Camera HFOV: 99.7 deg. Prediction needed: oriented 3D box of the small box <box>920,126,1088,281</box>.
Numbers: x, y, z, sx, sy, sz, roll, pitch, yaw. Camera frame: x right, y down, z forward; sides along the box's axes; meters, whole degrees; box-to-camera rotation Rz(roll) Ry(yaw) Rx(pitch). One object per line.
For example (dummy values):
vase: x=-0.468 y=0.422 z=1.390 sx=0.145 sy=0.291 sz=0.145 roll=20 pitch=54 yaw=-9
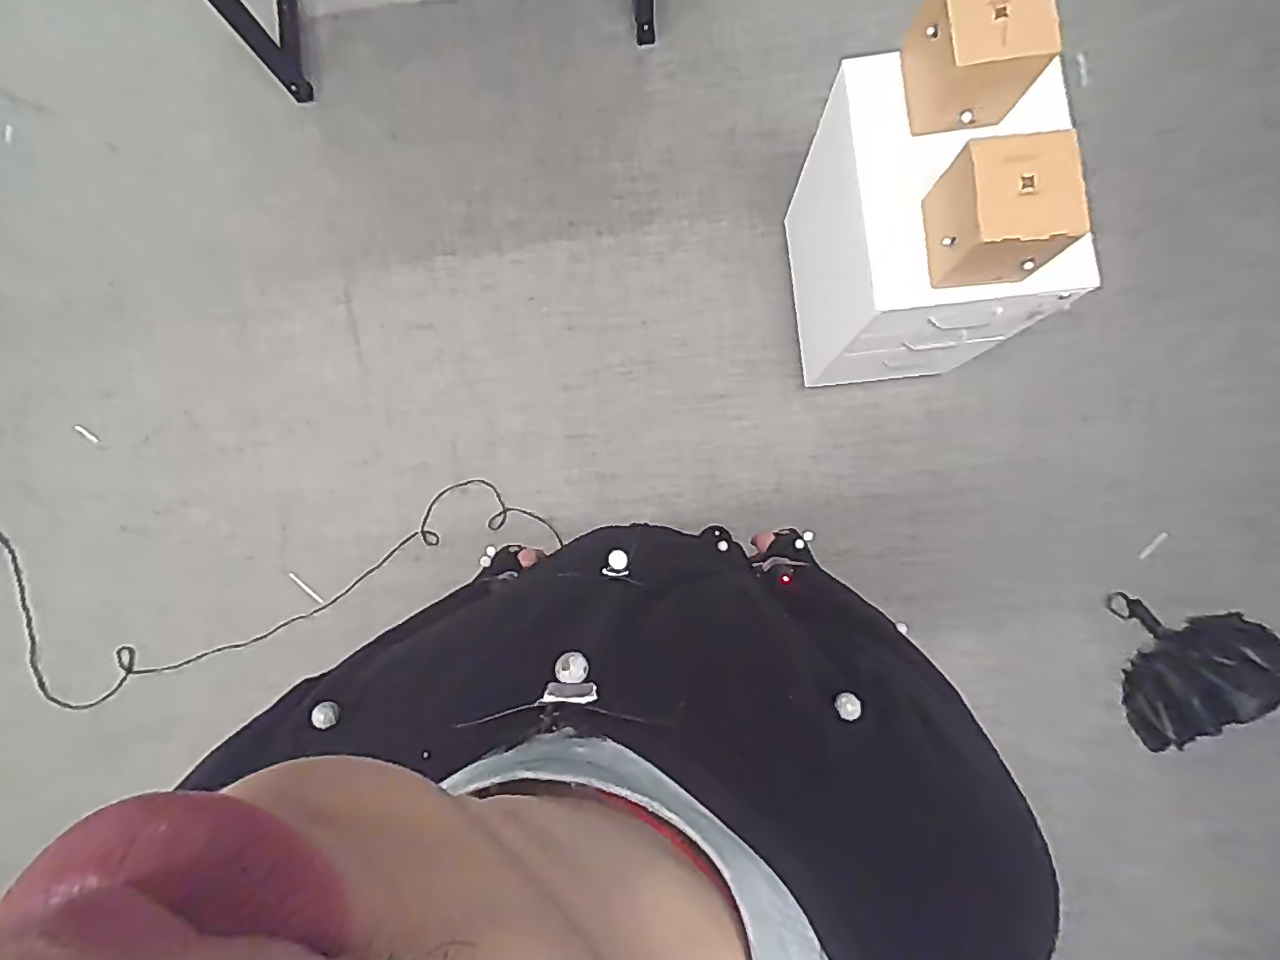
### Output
small box: x=0.603 y=-0.455 z=0.918 sx=0.168 sy=0.176 sz=0.179 roll=-4 pitch=84 yaw=1

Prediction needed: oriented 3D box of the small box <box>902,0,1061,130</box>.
small box: x=0.577 y=-0.752 z=0.937 sx=0.168 sy=0.176 sz=0.179 roll=-6 pitch=88 yaw=2
